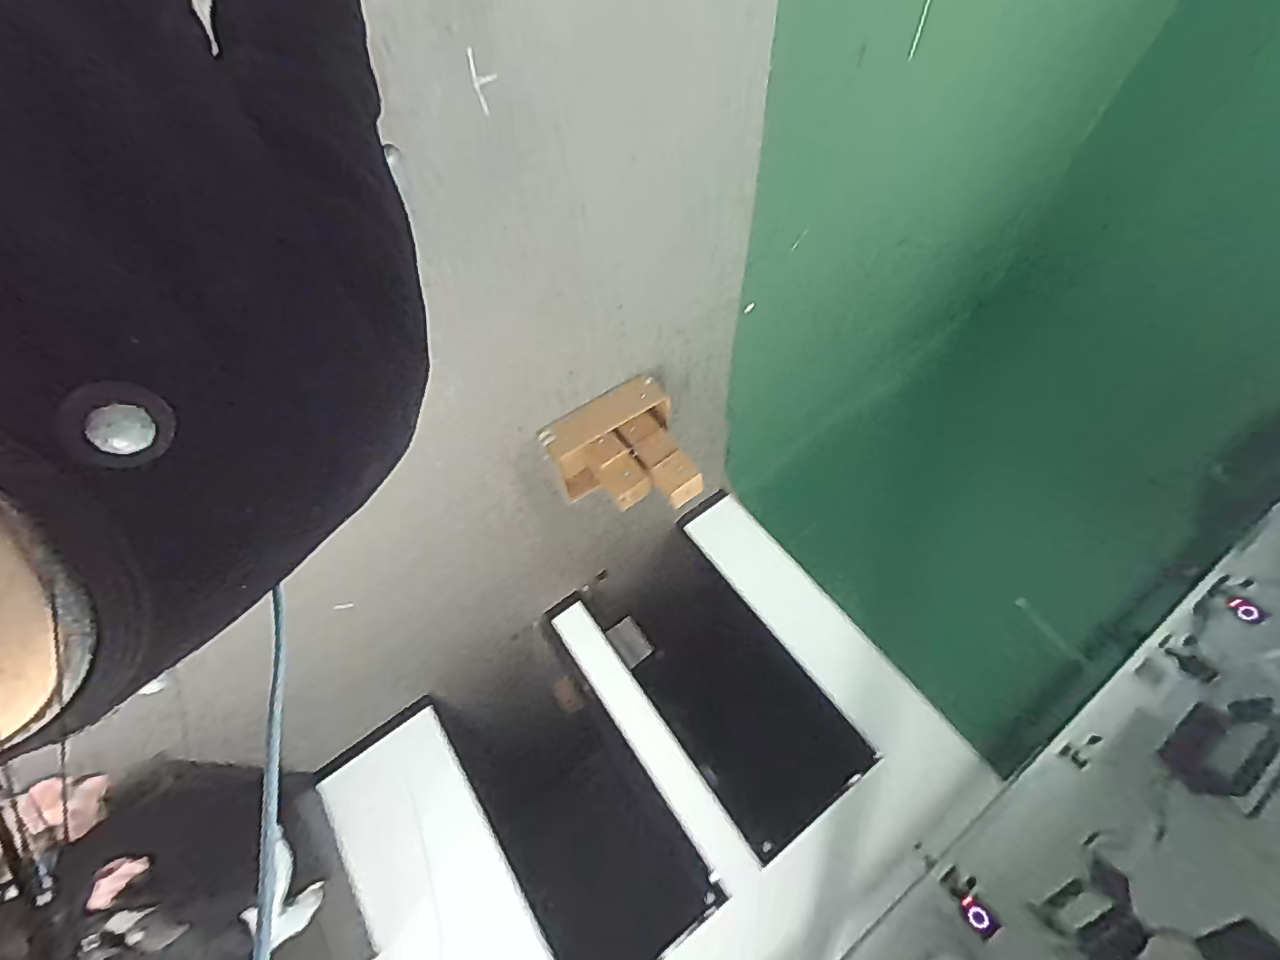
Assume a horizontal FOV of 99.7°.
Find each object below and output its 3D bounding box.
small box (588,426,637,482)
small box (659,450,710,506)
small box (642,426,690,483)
[{"bbox_3d":[-0.134,-0.129,2.625,0.168,0.176,0.179,-34,152,-16],"label":"small box"},{"bbox_3d":[0.203,-0.015,2.502,0.168,0.176,0.179,-35,152,-8],"label":"small box"},{"bbox_3d":[0.121,-0.125,2.590,0.179,0.176,0.168,-34,152,-12],"label":"small box"}]
